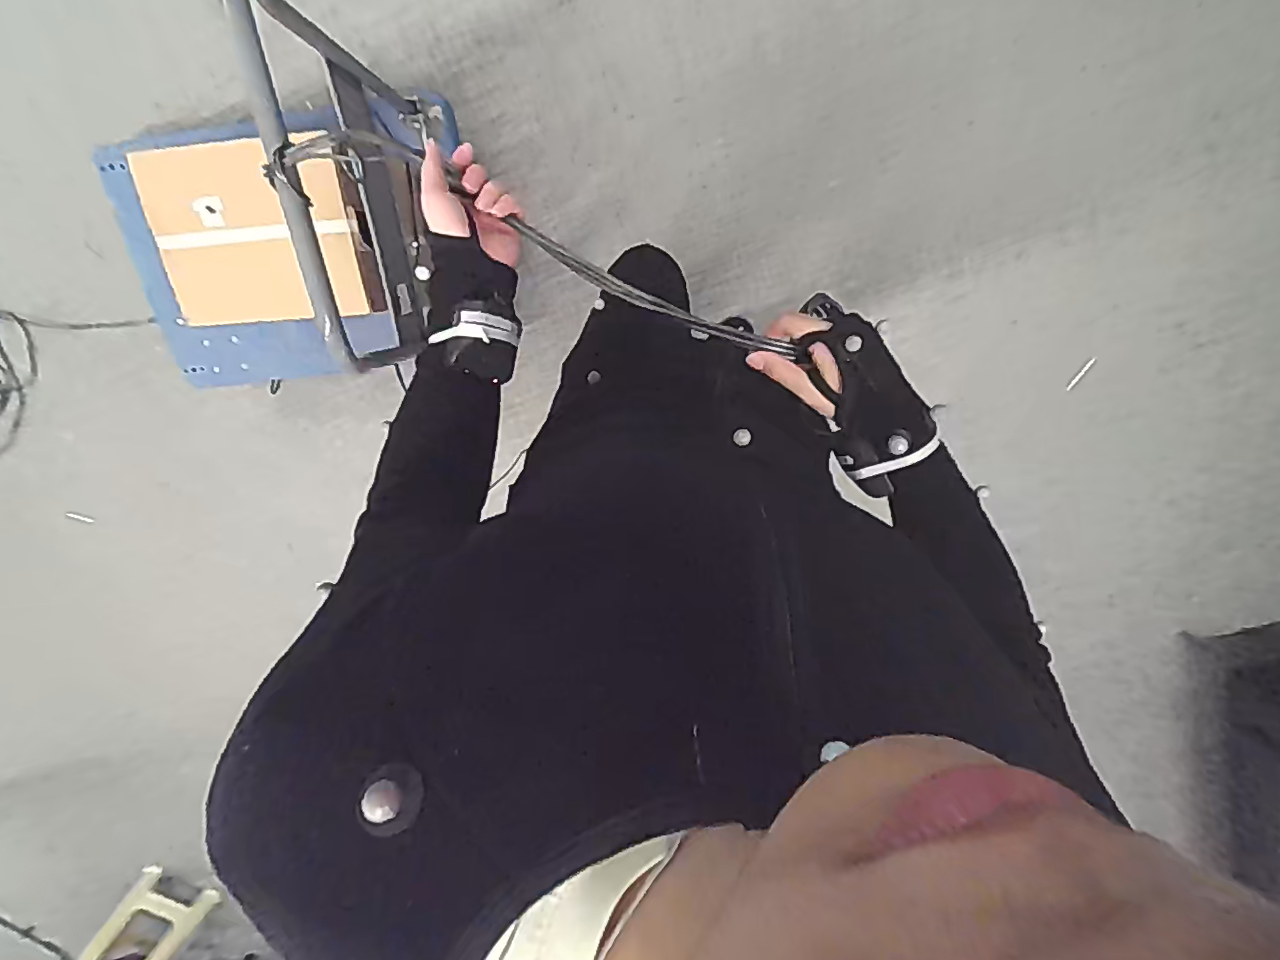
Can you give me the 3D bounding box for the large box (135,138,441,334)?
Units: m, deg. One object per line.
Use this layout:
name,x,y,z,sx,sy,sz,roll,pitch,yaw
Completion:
large box,-0.704,-0.499,1.154,0.408,0.320,0.320,-1,110,7
